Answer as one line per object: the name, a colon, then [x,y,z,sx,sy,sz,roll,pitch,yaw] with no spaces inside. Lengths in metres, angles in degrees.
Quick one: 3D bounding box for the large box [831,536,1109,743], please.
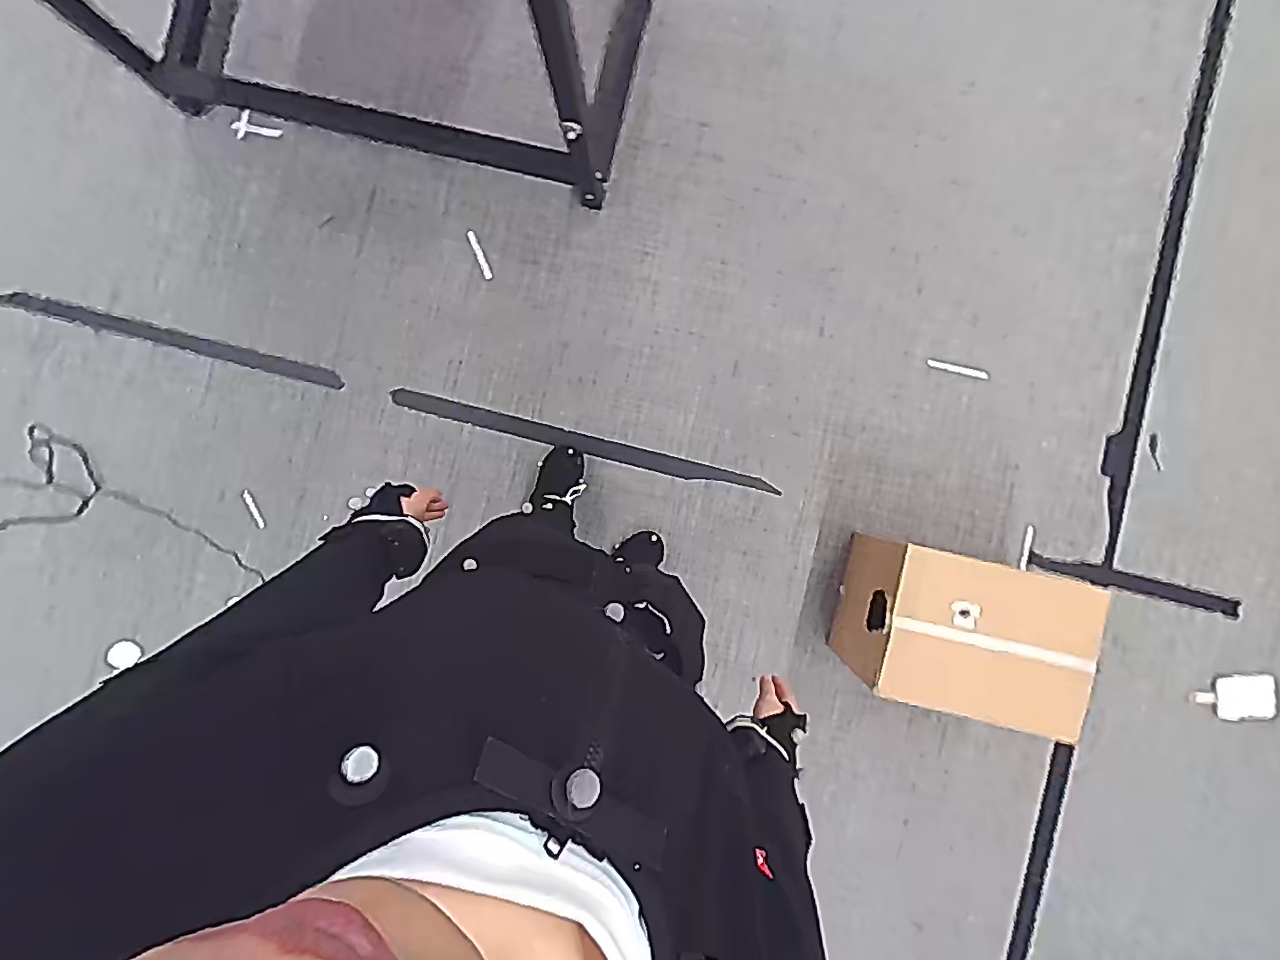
large box: [0.697,0.327,1.209,0.408,0.320,0.320,13,89,4]
